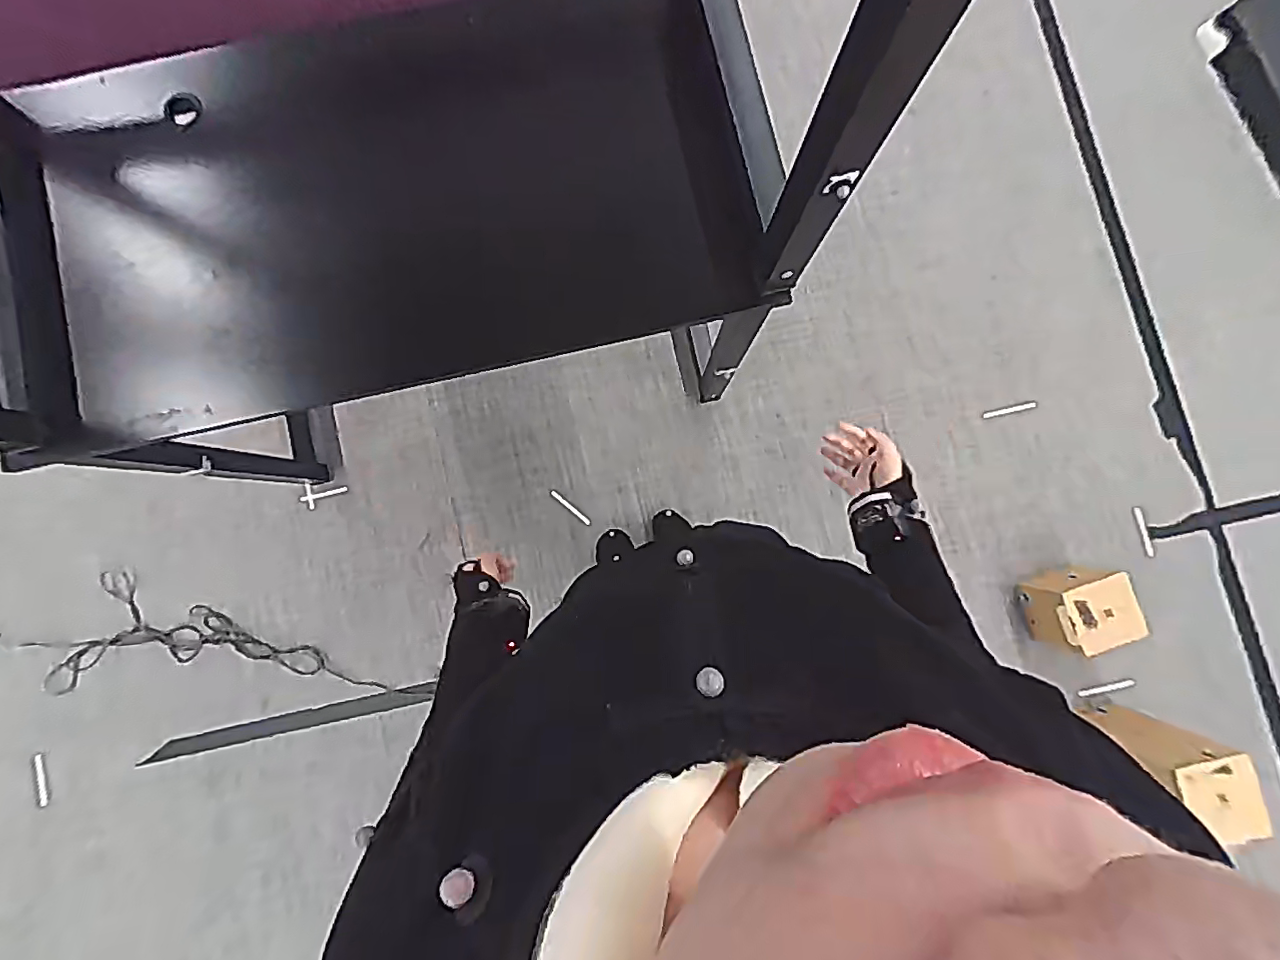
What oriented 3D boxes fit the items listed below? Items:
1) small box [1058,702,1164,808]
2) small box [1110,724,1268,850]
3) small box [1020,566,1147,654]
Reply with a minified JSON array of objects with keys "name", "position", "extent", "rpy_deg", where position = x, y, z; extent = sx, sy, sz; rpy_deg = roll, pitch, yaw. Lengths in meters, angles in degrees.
[{"name":"small box","position":[1.224,0.695,1.383],"extent":[0.168,0.176,0.179],"rpy_deg":[-11,86,-1]},{"name":"small box","position":[1.225,0.683,1.220],"extent":[0.168,0.176,0.179],"rpy_deg":[-12,87,-1]},{"name":"small box","position":[1.134,0.331,1.404],"extent":[0.179,0.176,0.168],"rpy_deg":[-19,87,-1]}]
